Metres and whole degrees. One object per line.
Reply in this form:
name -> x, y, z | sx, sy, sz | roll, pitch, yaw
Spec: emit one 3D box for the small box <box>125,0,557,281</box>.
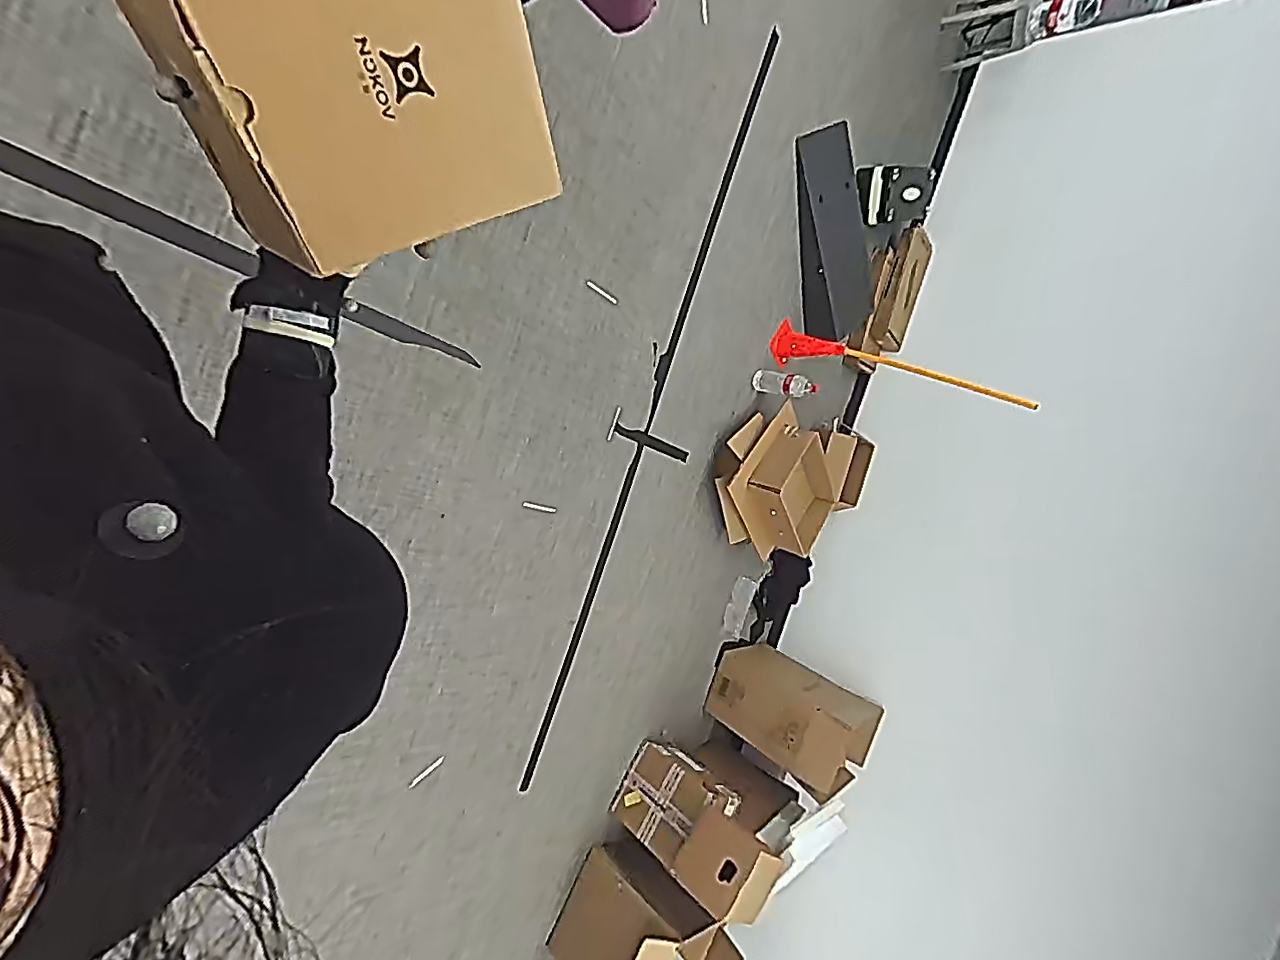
small box -> -0.186, -0.254, 0.356 | 0.179, 0.176, 0.168 | -34, 135, -26
